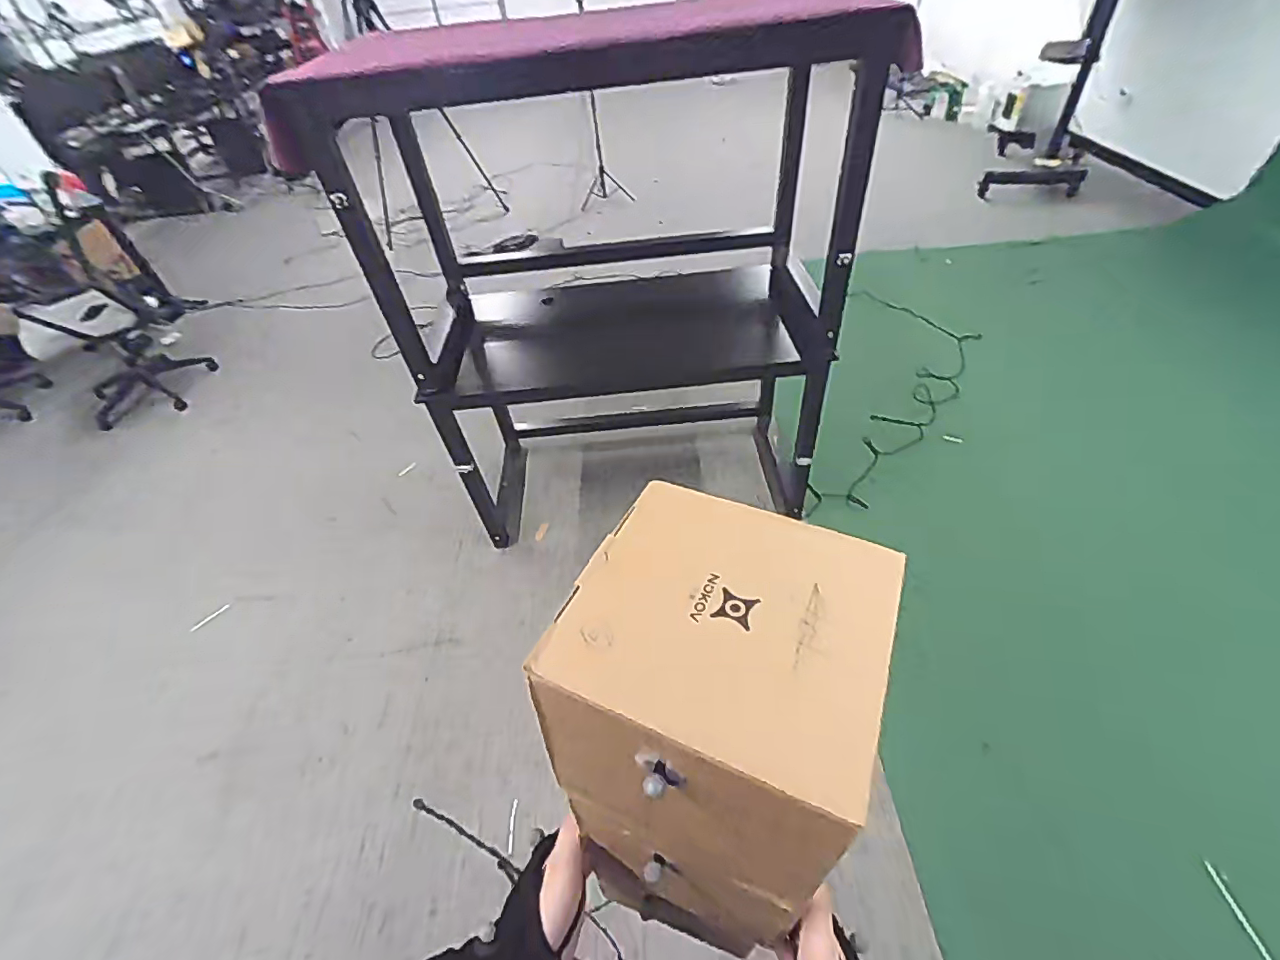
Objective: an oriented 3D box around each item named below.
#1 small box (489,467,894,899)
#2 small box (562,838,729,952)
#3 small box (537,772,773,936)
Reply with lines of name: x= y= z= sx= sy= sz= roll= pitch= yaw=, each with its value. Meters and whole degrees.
small box: x=0.036 y=0.123 z=0.345 sx=0.179 sy=0.176 sz=0.168 roll=19 pitch=46 yaw=20
small box: x=0.037 y=0.357 z=0.577 sx=0.168 sy=0.176 sz=0.179 roll=14 pitch=44 yaw=16
small box: x=0.039 y=0.243 z=0.458 sx=0.179 sy=0.176 sz=0.168 roll=15 pitch=44 yaw=18
